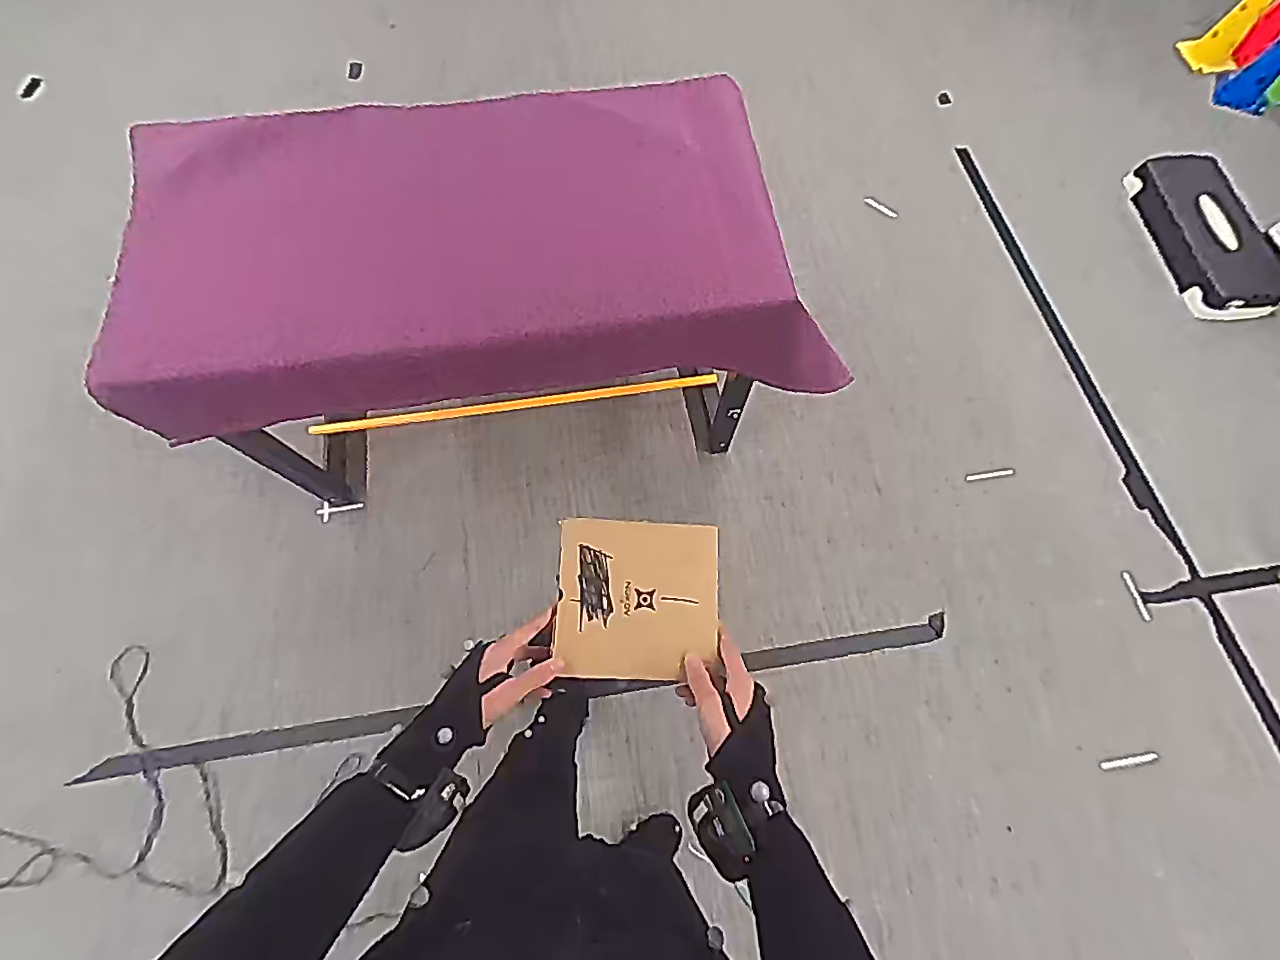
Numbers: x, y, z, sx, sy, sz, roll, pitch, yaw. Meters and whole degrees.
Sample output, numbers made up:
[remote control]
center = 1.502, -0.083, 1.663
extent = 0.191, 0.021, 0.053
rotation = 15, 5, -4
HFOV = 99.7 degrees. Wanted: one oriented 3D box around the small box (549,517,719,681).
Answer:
[small box]
center = -0.006, 0.146, 0.653
extent = 0.179, 0.176, 0.168
rotation = 3, 75, -2
